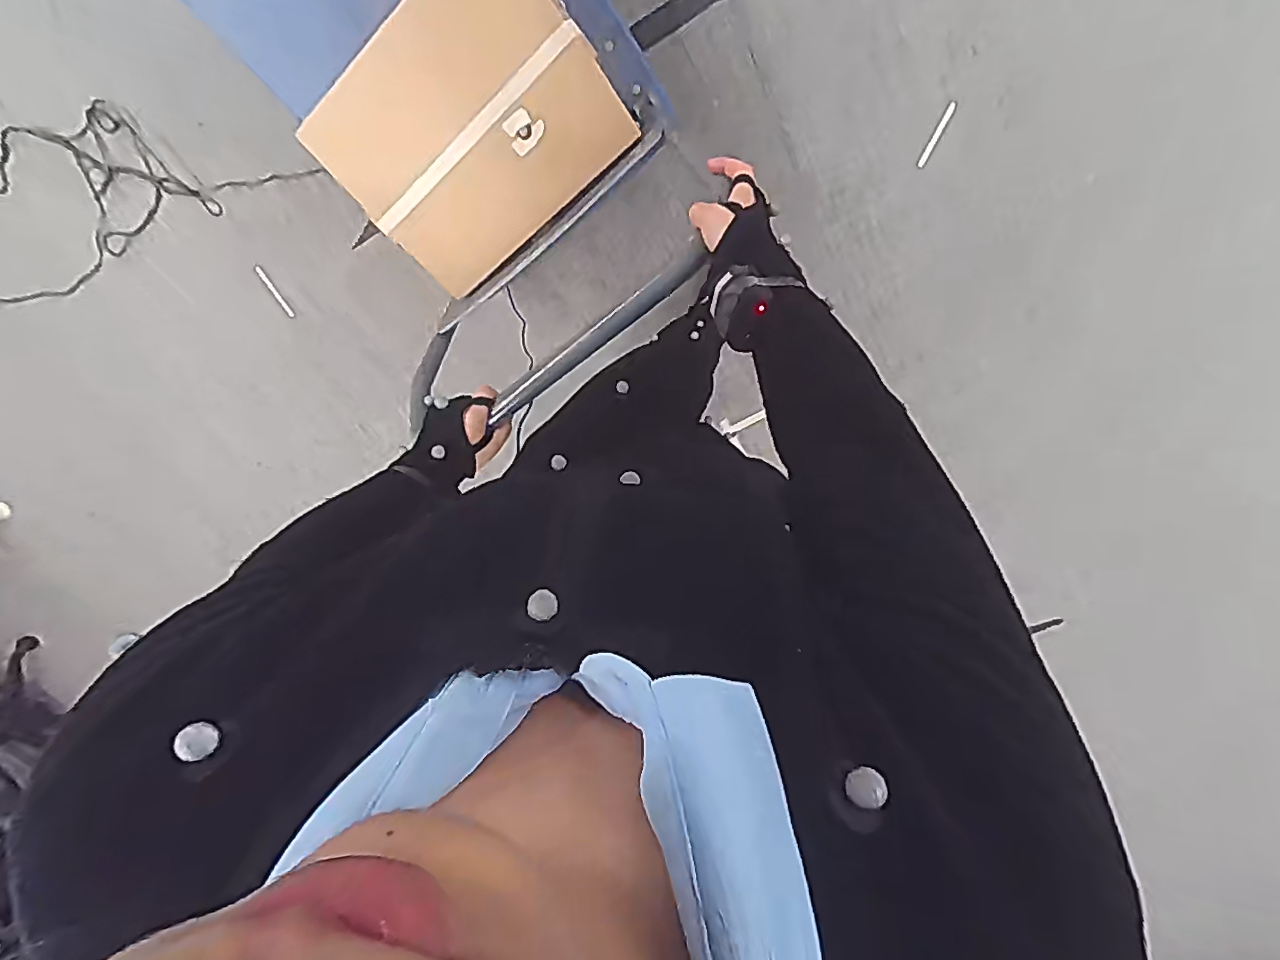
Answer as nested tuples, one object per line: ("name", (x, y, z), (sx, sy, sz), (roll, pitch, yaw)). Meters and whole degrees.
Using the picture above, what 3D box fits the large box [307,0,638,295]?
("large box", (-0.257, -0.602, 0.923), (0.408, 0.320, 0.320), (-35, 122, 19))
